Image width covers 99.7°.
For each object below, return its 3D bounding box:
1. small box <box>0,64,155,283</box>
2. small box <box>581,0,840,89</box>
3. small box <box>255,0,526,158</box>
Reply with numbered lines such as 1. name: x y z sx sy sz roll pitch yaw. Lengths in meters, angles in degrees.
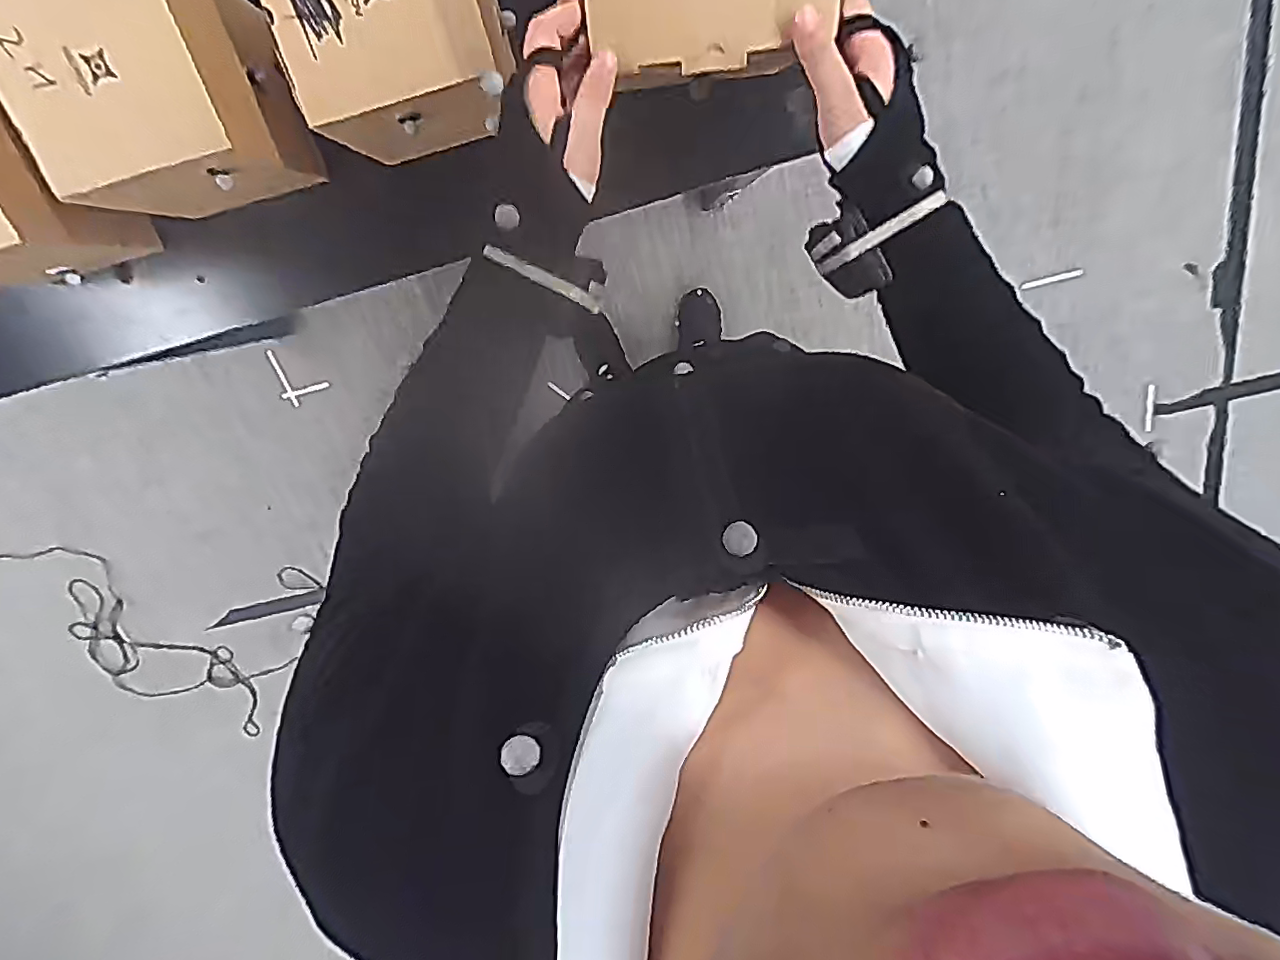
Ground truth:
1. small box: -0.668 -0.305 0.545 0.168 0.176 0.179 -14 111 6
2. small box: 0.039 -0.389 0.376 0.168 0.176 0.179 -6 125 2
3. small box: -0.225 -0.425 0.505 0.179 0.176 0.168 -14 111 4
